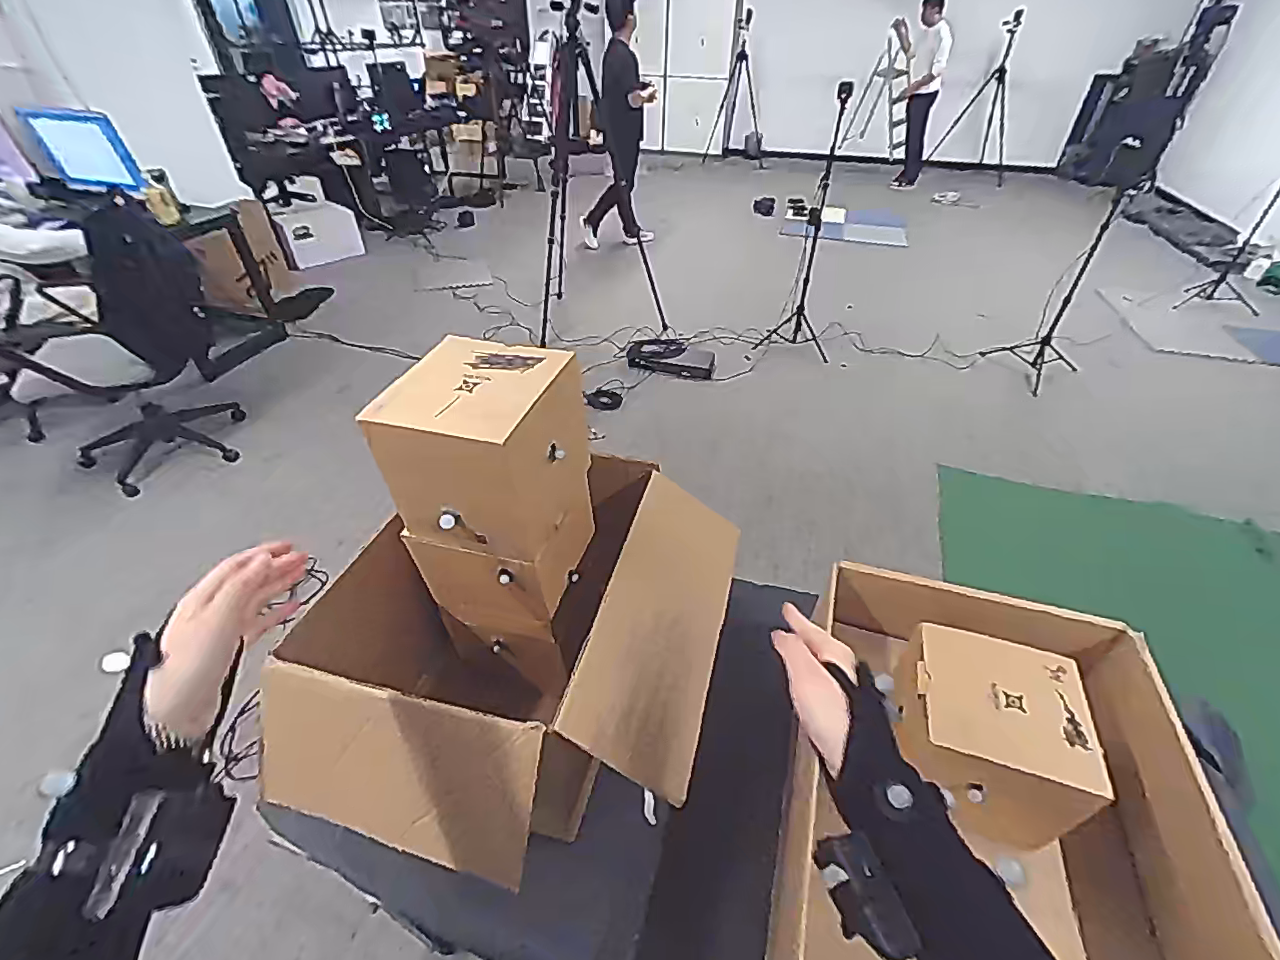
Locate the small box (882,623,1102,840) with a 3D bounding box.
[{"bbox_3d":[0.411,0.311,0.672,0.179,0.176,0.168,12,43,15],"label":"small box"}]

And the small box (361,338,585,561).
[{"bbox_3d":[-0.169,-0.038,0.618,0.168,0.176,0.179,10,44,14],"label":"small box"}]
